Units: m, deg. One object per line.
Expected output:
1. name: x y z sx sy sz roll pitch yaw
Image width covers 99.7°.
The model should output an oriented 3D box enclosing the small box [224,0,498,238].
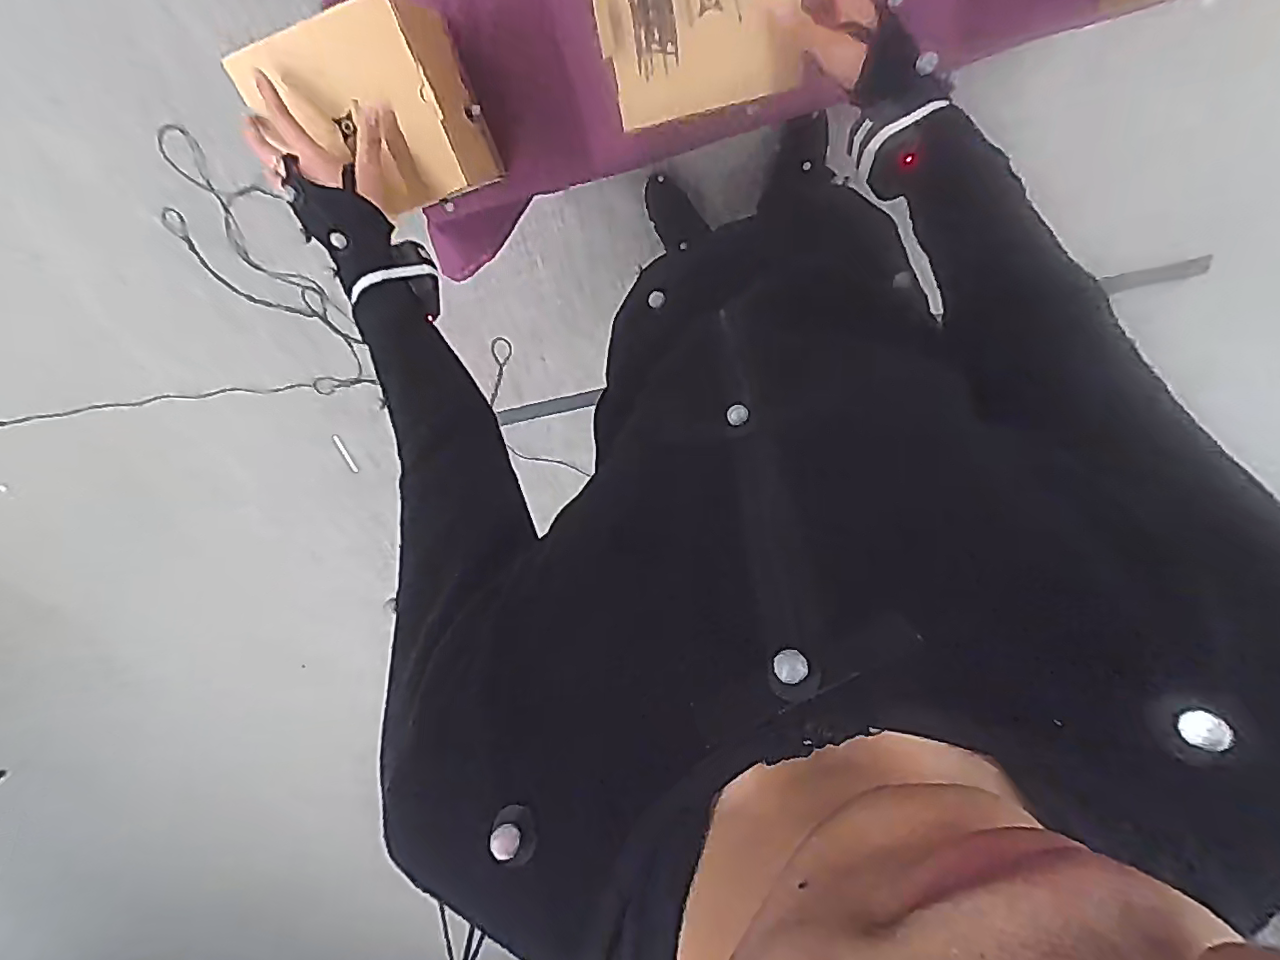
1. small box: -0.281 -0.387 0.594 0.179 0.176 0.168 -16 121 9
